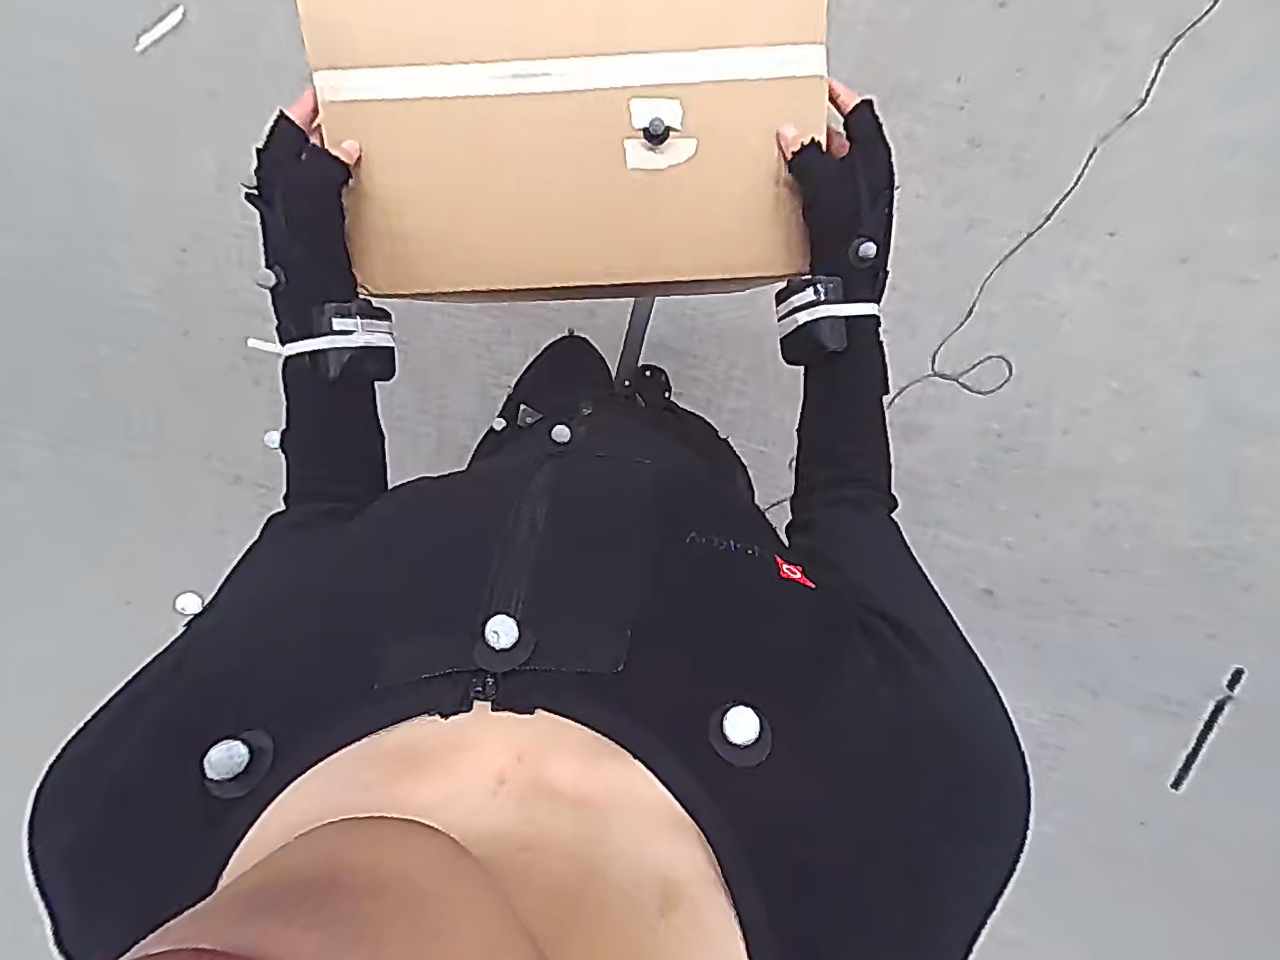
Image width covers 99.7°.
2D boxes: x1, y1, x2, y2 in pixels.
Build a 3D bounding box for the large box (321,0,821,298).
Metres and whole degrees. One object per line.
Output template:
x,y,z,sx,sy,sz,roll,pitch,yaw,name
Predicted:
-0.056,-0.376,0.583,0.408,0.320,0.320,-3,107,0,large box
